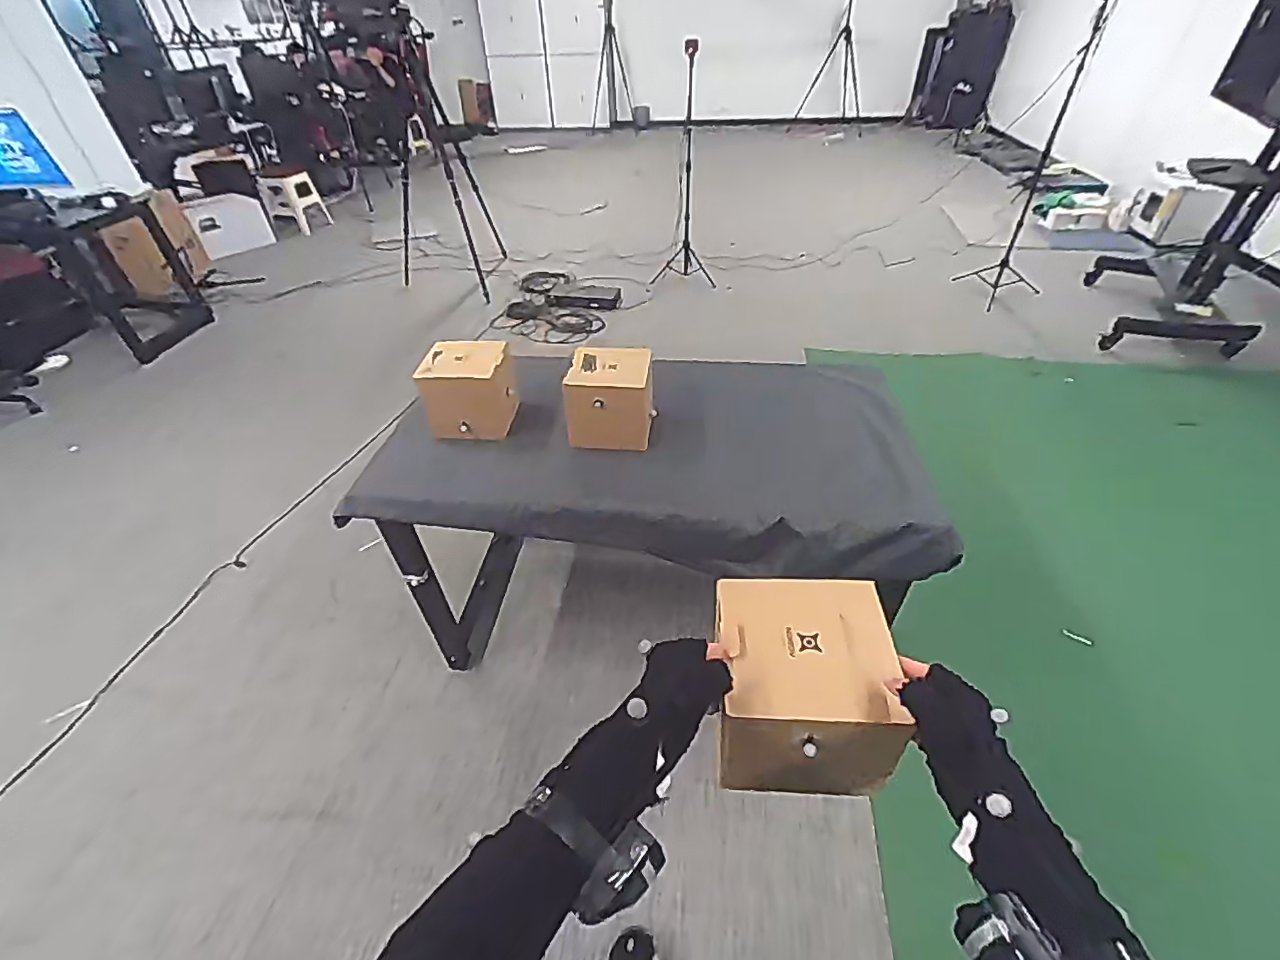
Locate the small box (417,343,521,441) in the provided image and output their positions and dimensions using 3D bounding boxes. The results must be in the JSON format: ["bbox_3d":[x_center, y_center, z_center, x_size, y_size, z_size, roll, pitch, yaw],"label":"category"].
[{"bbox_3d":[-0.390,-0.205,1.275,0.179,0.176,0.168,2,41,3],"label":"small box"}]

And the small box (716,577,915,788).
[{"bbox_3d":[0.177,0.228,0.612,0.179,0.176,0.168,1,40,4],"label":"small box"}]

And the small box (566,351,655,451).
[{"bbox_3d":[-0.059,-0.180,1.232,0.179,0.176,0.168,3,42,5],"label":"small box"}]
